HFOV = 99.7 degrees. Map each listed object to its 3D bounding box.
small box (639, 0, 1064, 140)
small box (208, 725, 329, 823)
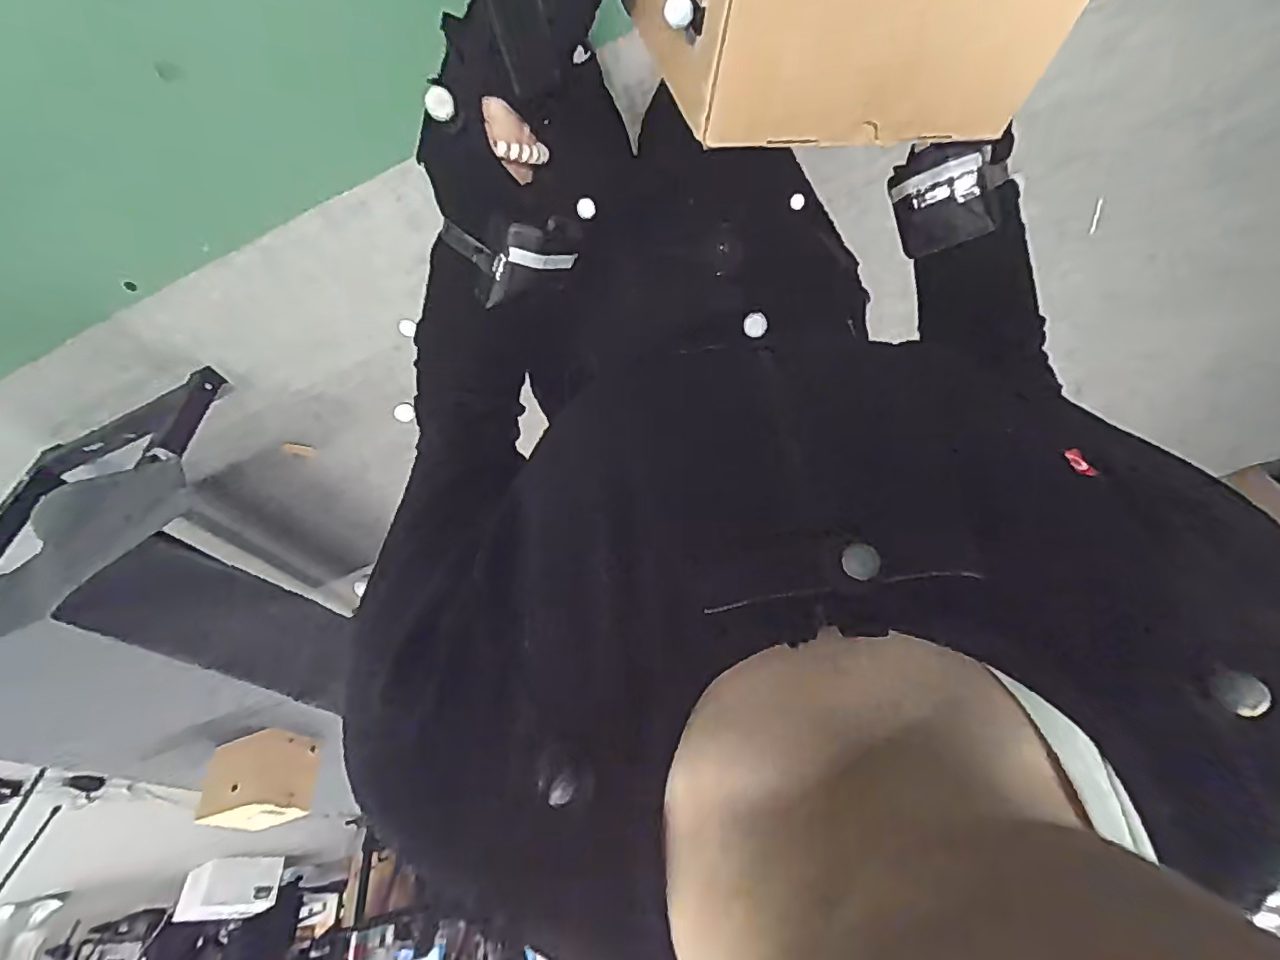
[{"bbox_3d":[0.091,-0.284,0.234,0.168,0.176,0.179,-10,151,-11],"label":"small box"},{"bbox_3d":[-0.903,0.725,1.337,0.179,0.176,0.168,-22,137,11],"label":"small box"}]
